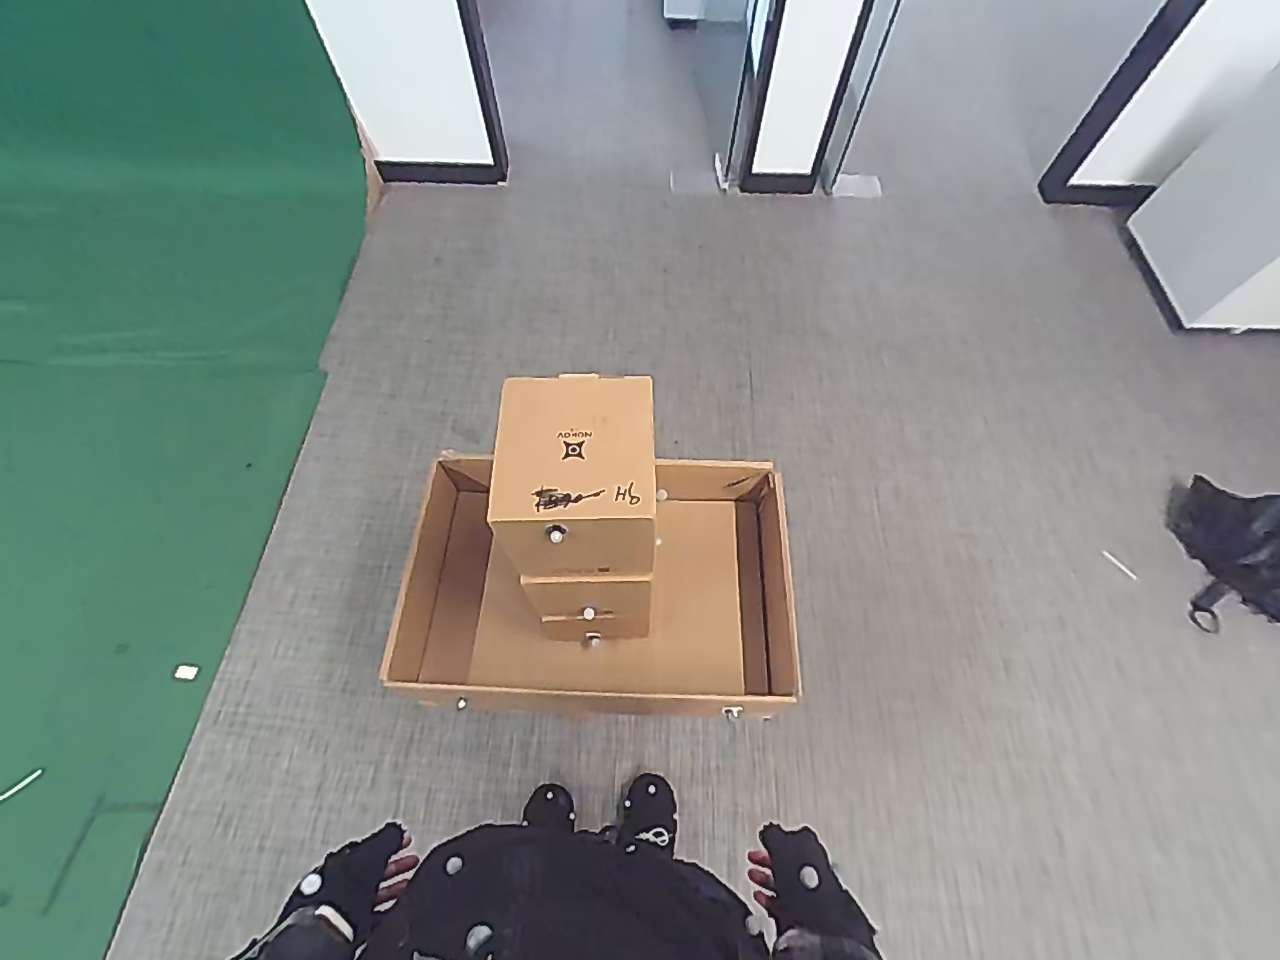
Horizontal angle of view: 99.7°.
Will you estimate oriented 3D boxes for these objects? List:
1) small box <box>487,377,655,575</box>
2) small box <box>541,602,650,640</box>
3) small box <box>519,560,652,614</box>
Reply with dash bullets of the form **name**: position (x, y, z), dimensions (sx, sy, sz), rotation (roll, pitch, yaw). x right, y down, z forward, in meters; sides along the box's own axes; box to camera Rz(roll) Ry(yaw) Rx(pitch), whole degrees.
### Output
- **small box**: position (-0.068, 0.000, 0.634), dimensions (0.168, 0.176, 0.179), rotation (-1, 61, 1)
- **small box**: position (-0.070, 0.164, 0.919), dimensions (0.168, 0.176, 0.179), rotation (-2, 63, -1)
- **small box**: position (-0.068, 0.085, 0.775), dimensions (0.168, 0.176, 0.179), rotation (-1, 63, 0)
